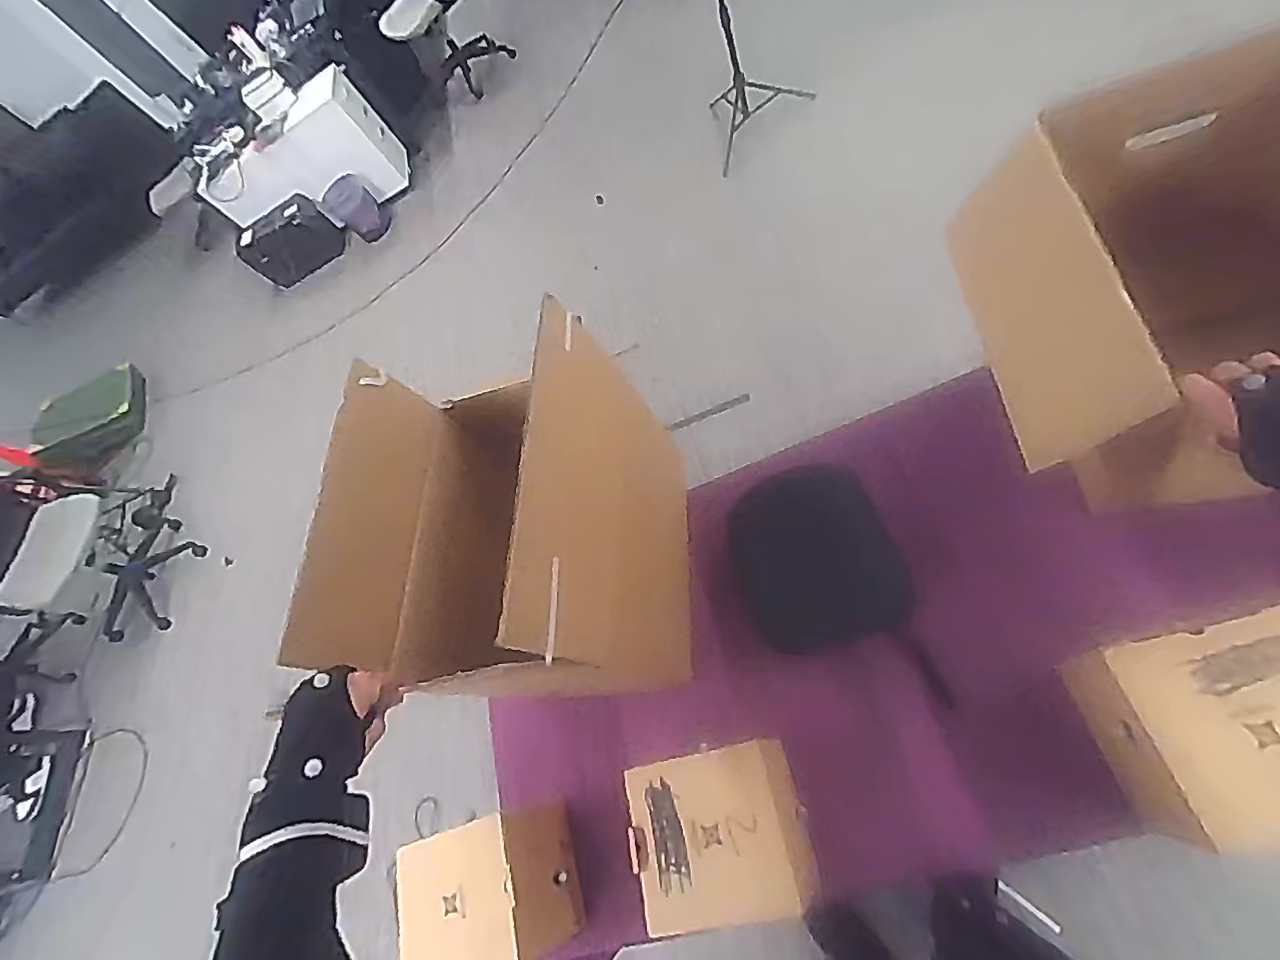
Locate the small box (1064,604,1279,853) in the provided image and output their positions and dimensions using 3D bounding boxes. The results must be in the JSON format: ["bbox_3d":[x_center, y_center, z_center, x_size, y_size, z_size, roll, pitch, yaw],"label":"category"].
[{"bbox_3d":[0.572,0.244,0.539,0.168,0.176,0.179,-21,60,15],"label":"small box"}]

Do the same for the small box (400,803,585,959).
[{"bbox_3d":[-0.201,0.569,0.750,0.179,0.176,0.168,-25,58,11],"label":"small box"}]
